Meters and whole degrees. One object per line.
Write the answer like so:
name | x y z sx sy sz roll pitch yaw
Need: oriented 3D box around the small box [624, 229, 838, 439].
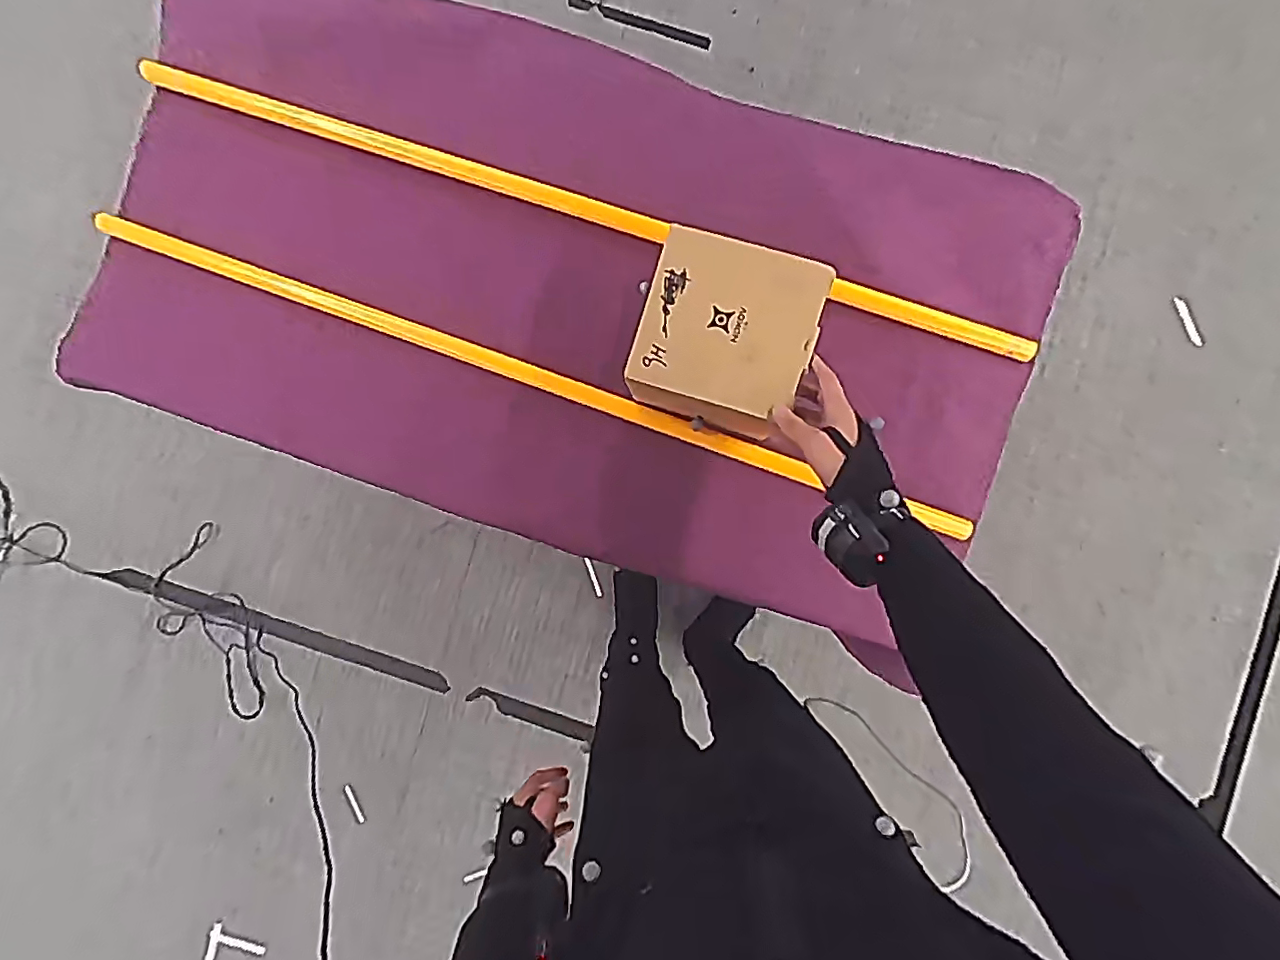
small box | 0.094 -0.150 0.618 0.179 0.176 0.168 18 90 3
